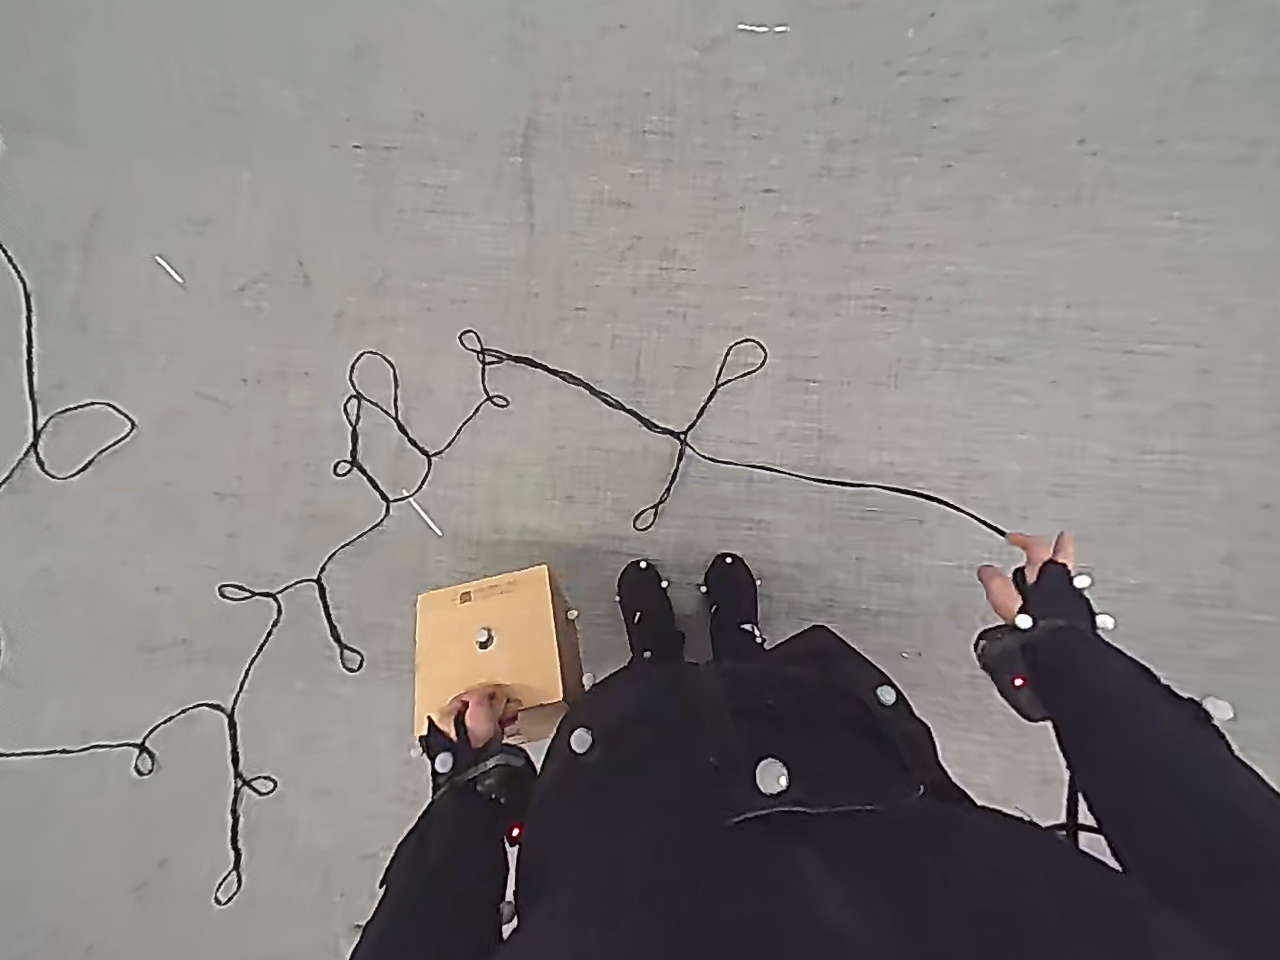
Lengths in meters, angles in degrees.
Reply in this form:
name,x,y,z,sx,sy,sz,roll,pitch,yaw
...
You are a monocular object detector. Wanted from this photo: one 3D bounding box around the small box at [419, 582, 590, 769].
name,x,y,z,sx,sy,sz,roll,pitch,yaw
small box,-0.172,0.245,0.691,0.168,0.179,0.176,-14,56,-4
